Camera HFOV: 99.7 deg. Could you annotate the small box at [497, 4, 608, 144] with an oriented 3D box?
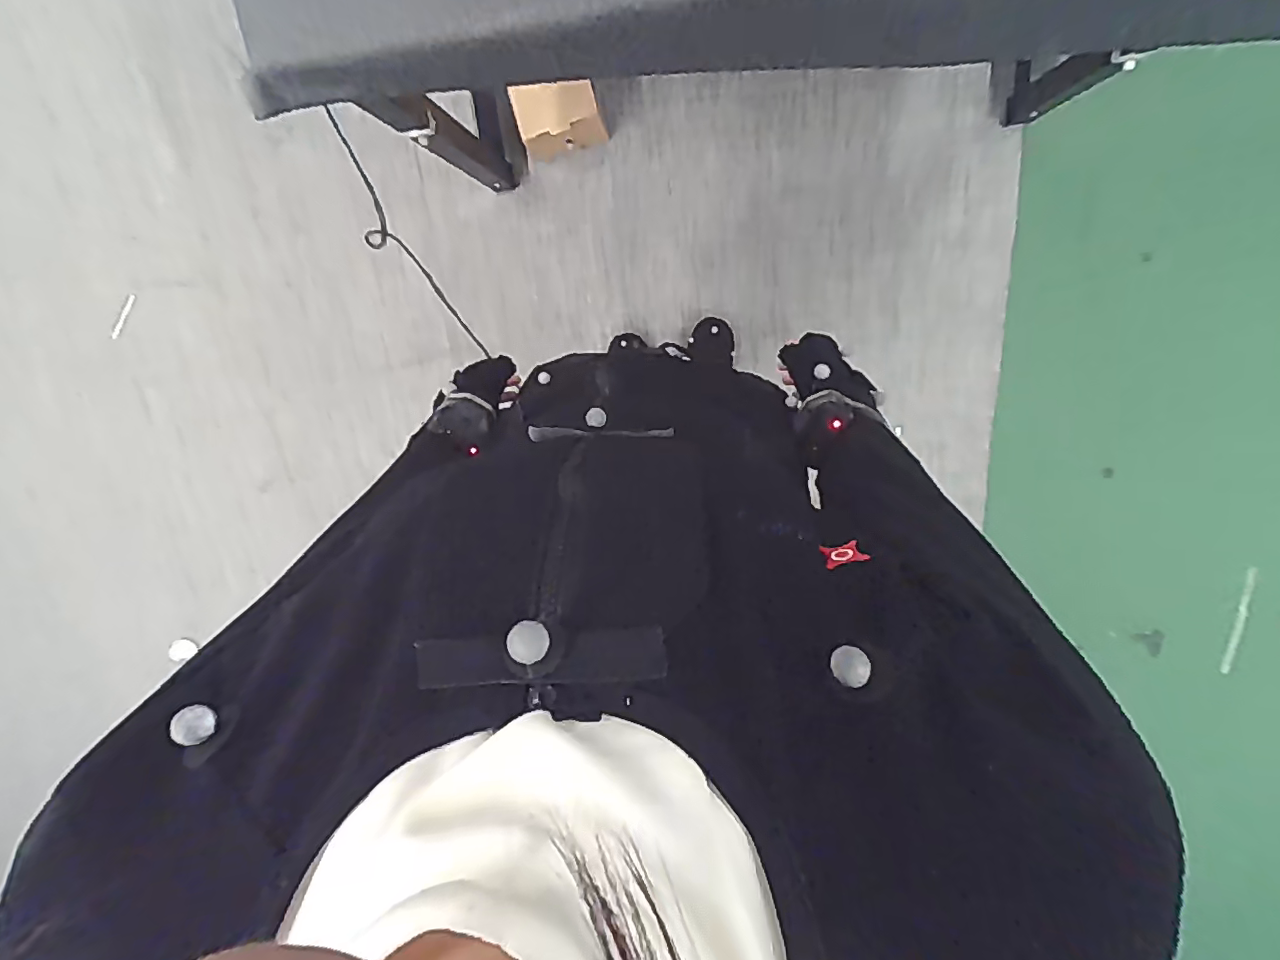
[{"bbox_3d":[-0.172,-0.829,1.129,0.168,0.176,0.179,-12,107,8],"label":"small box"}]
